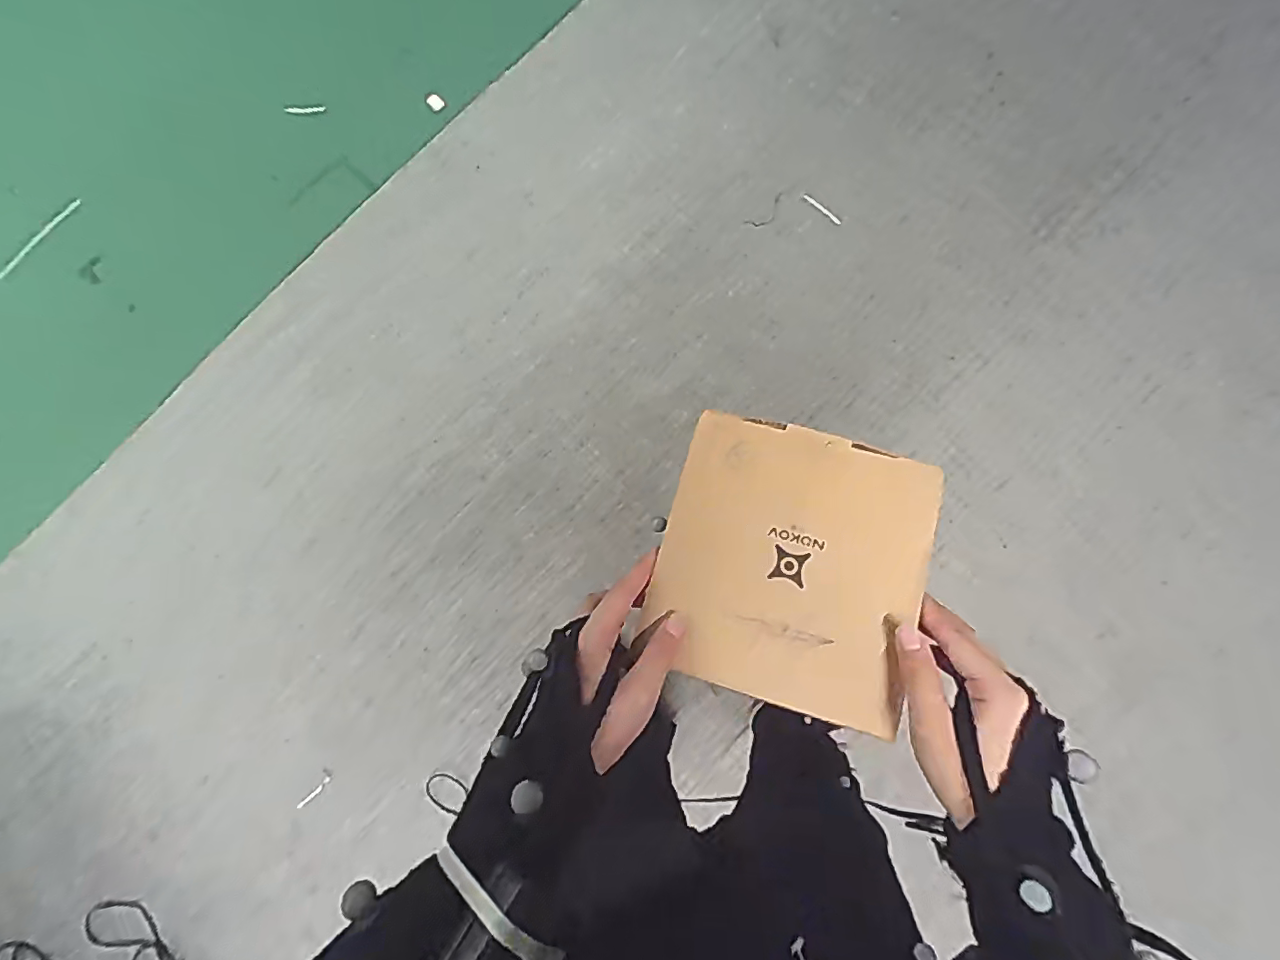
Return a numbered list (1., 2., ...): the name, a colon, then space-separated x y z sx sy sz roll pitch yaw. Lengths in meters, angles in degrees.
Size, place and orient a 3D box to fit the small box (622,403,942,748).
1. small box: 0.095 0.068 0.410 0.168 0.176 0.179 15 78 9
